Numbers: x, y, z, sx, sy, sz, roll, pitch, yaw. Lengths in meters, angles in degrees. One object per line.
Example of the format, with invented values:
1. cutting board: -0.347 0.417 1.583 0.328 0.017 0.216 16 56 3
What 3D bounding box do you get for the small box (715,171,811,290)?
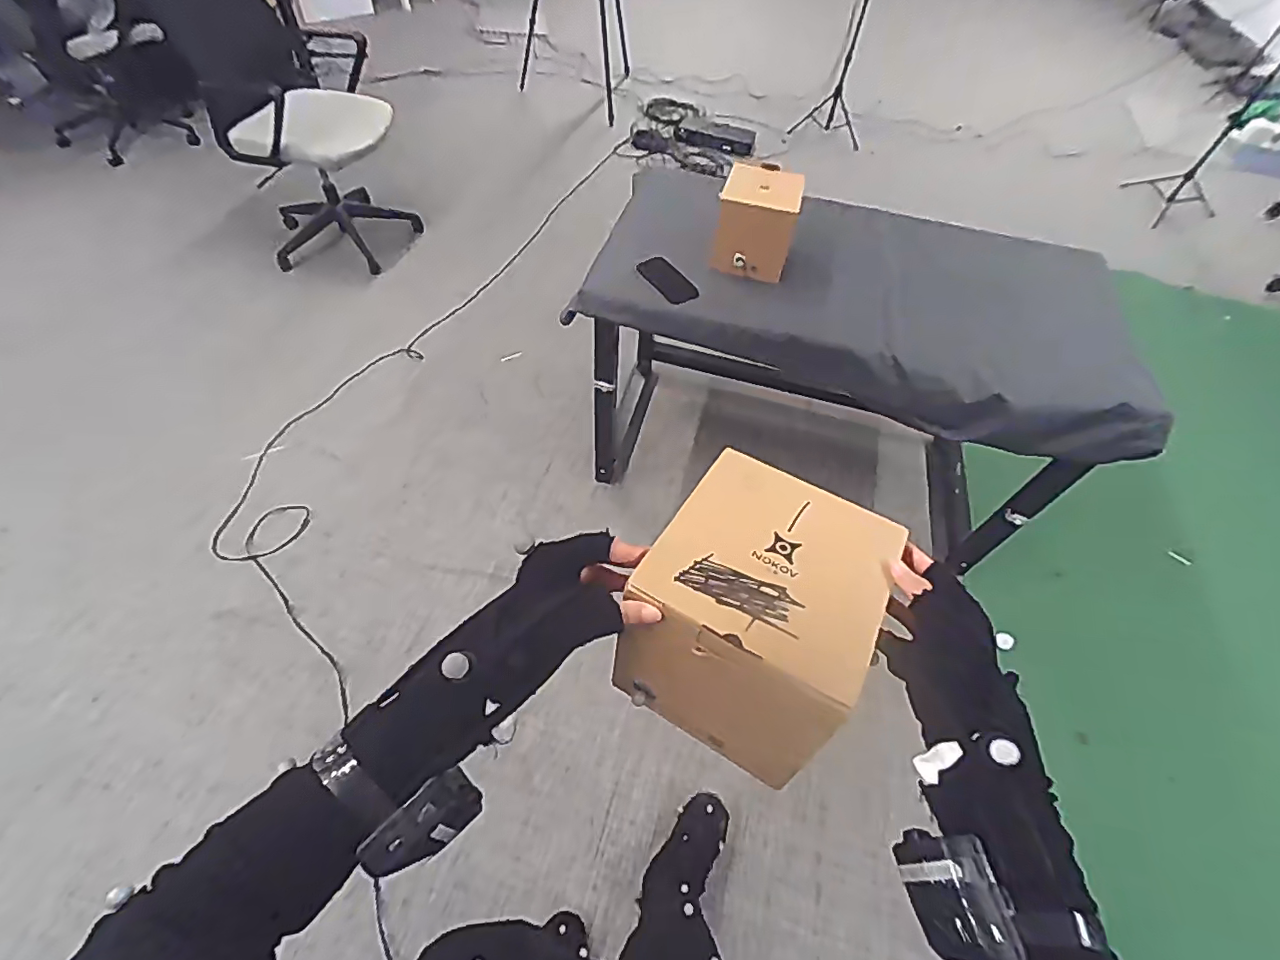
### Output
1. small box: 0.274 -0.562 1.223 0.168 0.176 0.179 14 55 7
